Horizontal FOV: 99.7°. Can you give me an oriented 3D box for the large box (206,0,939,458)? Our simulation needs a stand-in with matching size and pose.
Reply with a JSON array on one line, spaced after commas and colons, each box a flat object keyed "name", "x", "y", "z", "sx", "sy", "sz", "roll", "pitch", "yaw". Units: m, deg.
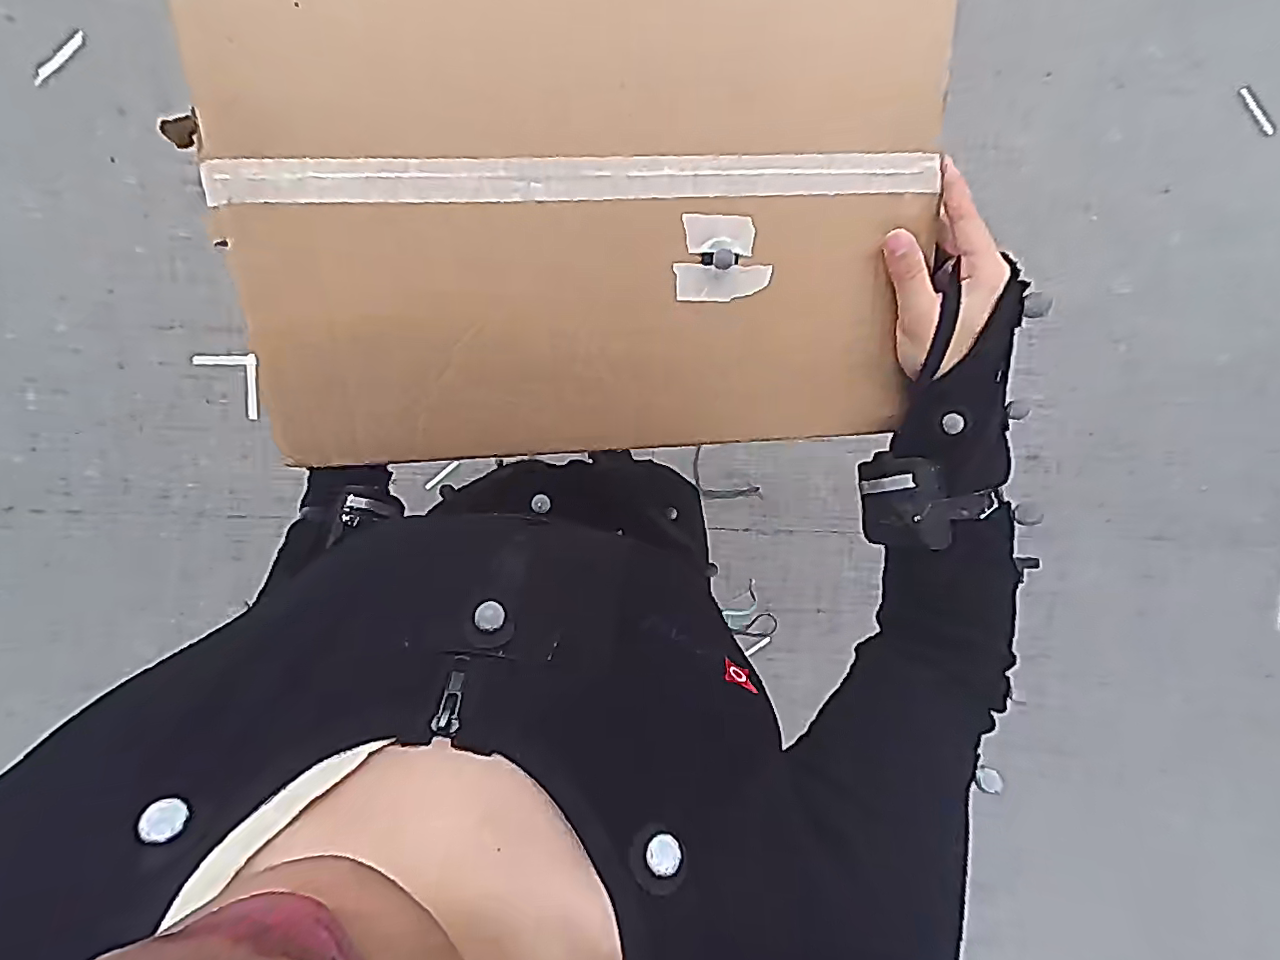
[{"name": "large box", "x": -0.039, "y": -0.217, "z": 0.458, "sx": 0.408, "sy": 0.320, "sz": 0.320, "roll": -5, "pitch": 107, "yaw": -7}]
